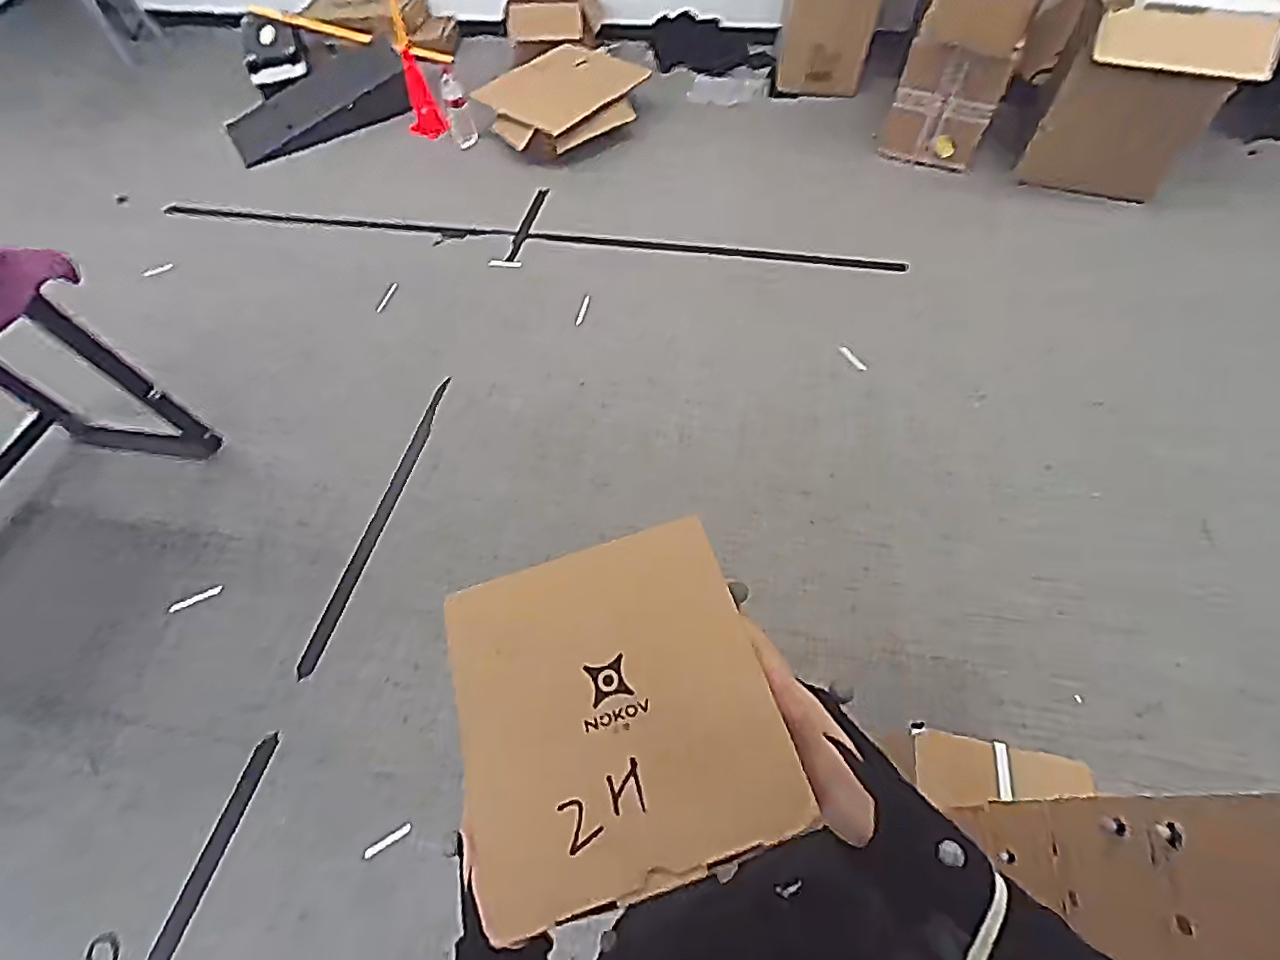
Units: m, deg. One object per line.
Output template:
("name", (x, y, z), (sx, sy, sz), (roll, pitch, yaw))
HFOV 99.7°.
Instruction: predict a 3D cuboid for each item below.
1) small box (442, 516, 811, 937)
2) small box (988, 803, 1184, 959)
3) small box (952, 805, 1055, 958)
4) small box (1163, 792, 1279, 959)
("small box", (-0.012, 0.155, 0.364), (0.168, 0.176, 0.179), (-18, 61, -4))
("small box", (0.595, 0.532, 0.706), (0.179, 0.176, 0.168), (7, 59, 9))
("small box", (0.611, 0.621, 0.841), (0.168, 0.176, 0.179), (7, 60, 8))
("small box", (0.572, 0.363, 0.426), (0.179, 0.176, 0.168), (10, 60, 9))
